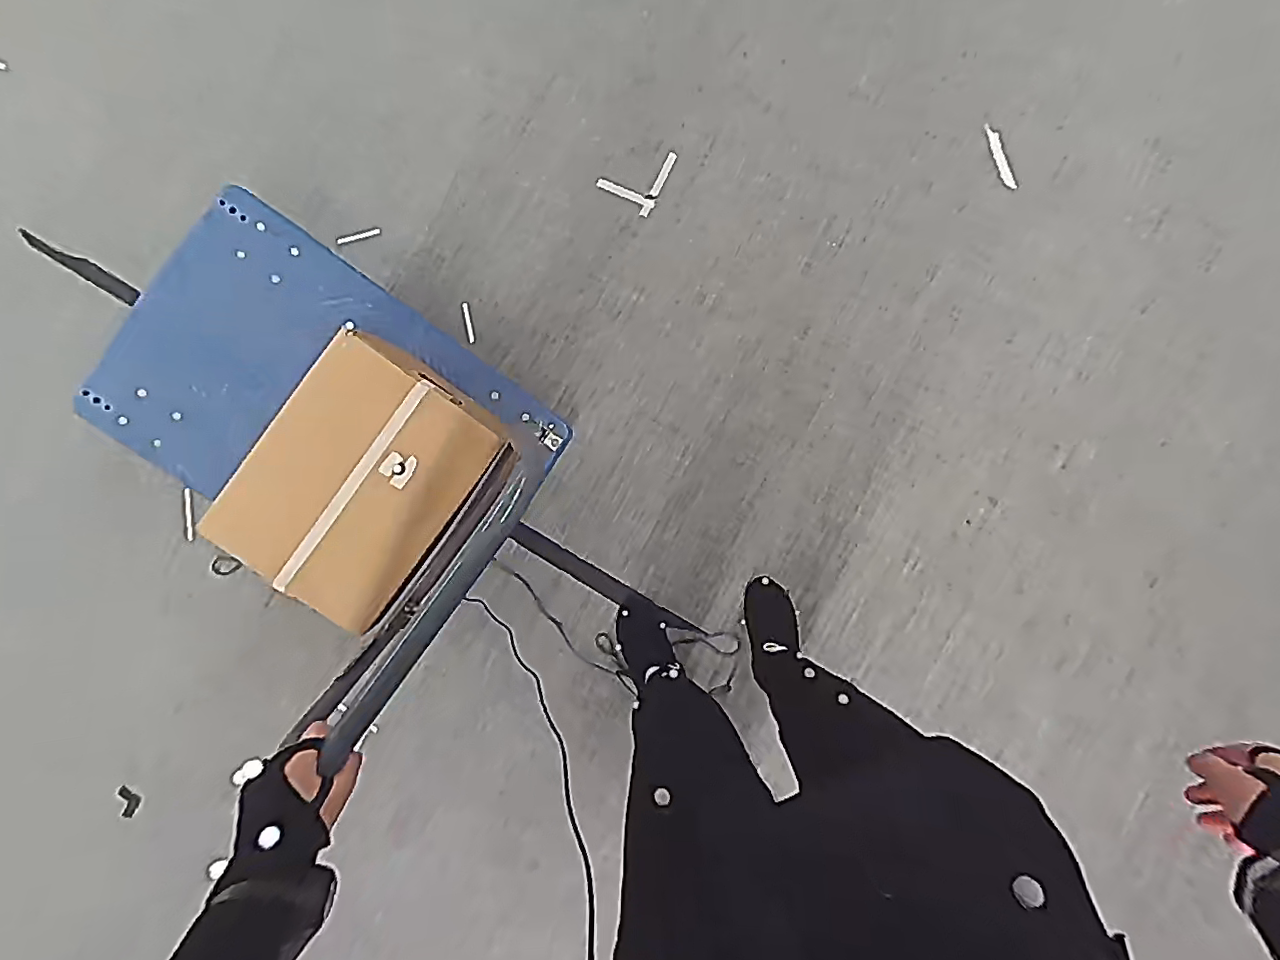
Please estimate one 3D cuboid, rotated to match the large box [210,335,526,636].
[{"bbox_3d":[-0.471,0.008,1.029,0.320,0.320,0.408,36,89,-7],"label":"large box"}]
